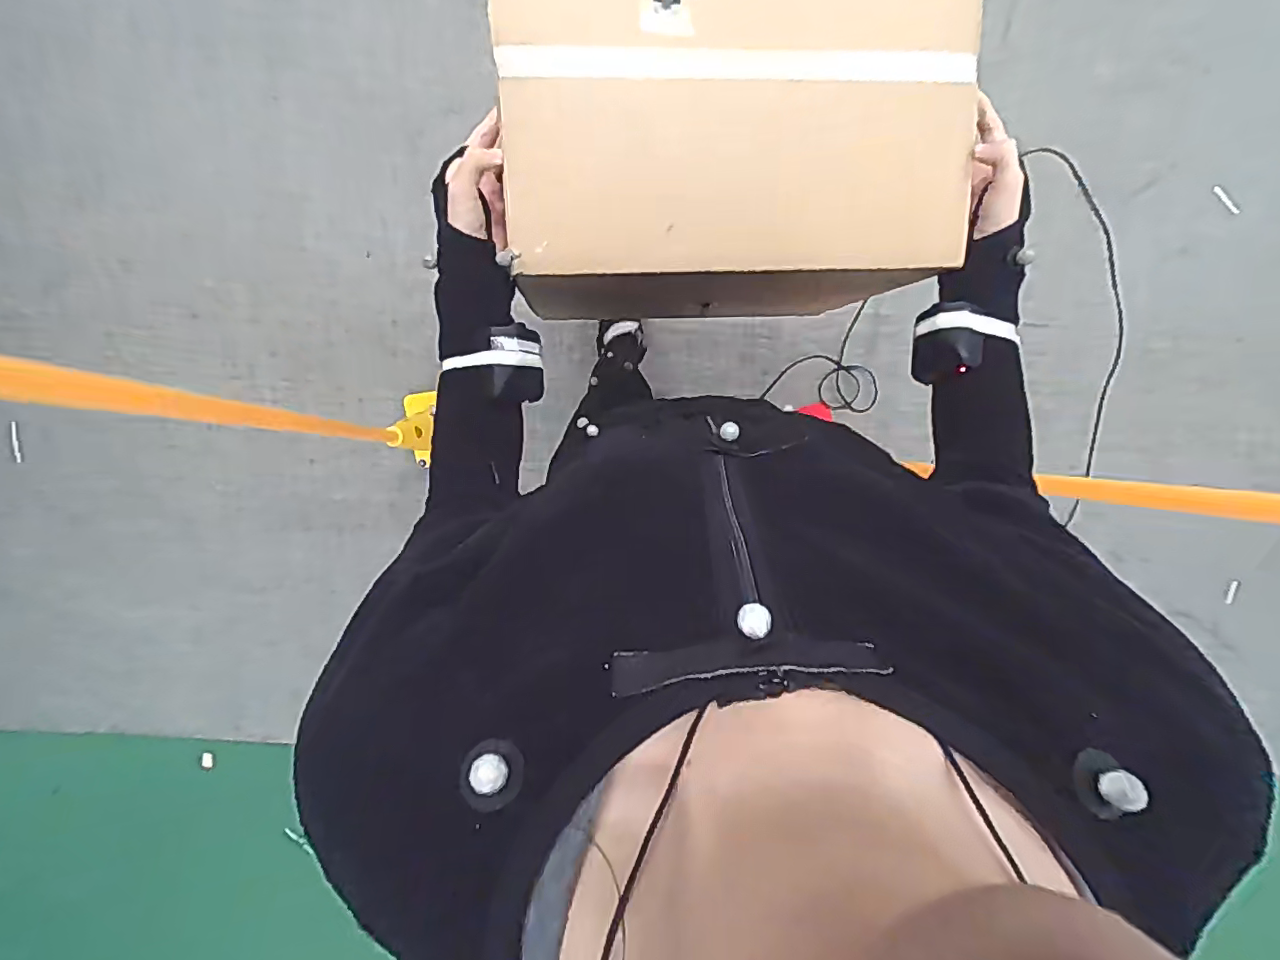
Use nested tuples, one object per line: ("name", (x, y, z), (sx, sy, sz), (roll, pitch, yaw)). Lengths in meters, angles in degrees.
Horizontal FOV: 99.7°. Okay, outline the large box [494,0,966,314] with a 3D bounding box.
("large box", (0.071, -0.366, 0.604), (0.408, 0.320, 0.320), (-3, 99, -5))
